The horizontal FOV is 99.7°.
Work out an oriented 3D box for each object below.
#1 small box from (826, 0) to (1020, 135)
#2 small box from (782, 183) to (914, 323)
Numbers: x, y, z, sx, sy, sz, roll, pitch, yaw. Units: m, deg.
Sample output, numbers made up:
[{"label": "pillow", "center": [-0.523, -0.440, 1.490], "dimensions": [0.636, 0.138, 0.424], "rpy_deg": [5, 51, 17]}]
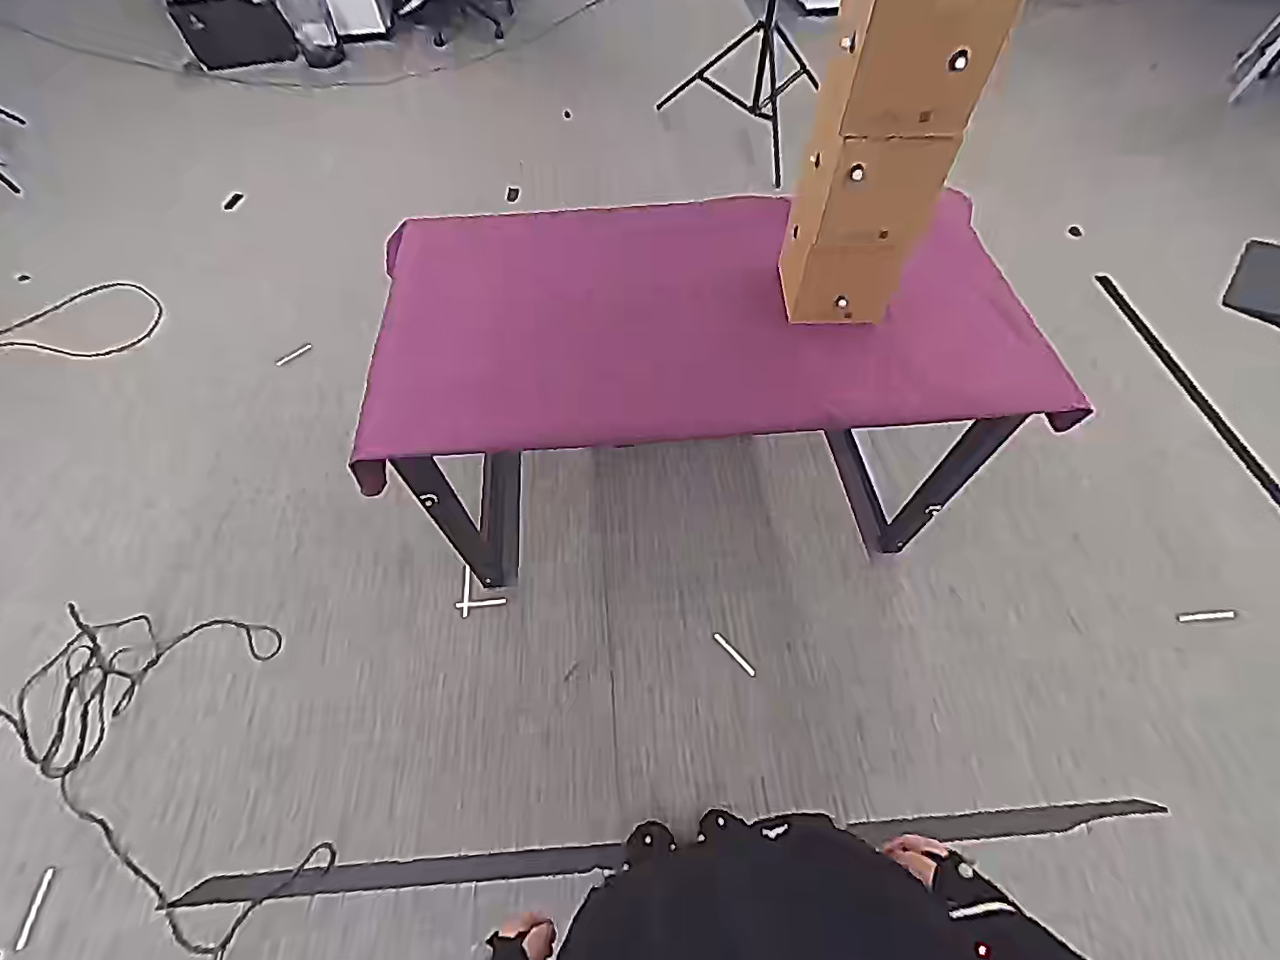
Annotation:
[{"label": "small box", "center": [0.351, -0.571, 0.694], "dimensions": [0.168, 0.176, 0.179], "rpy_deg": [2, 58, 2]}, {"label": "small box", "center": [0.362, -0.408, 0.977], "dimensions": [0.168, 0.176, 0.179], "rpy_deg": [0, 59, 2]}]
